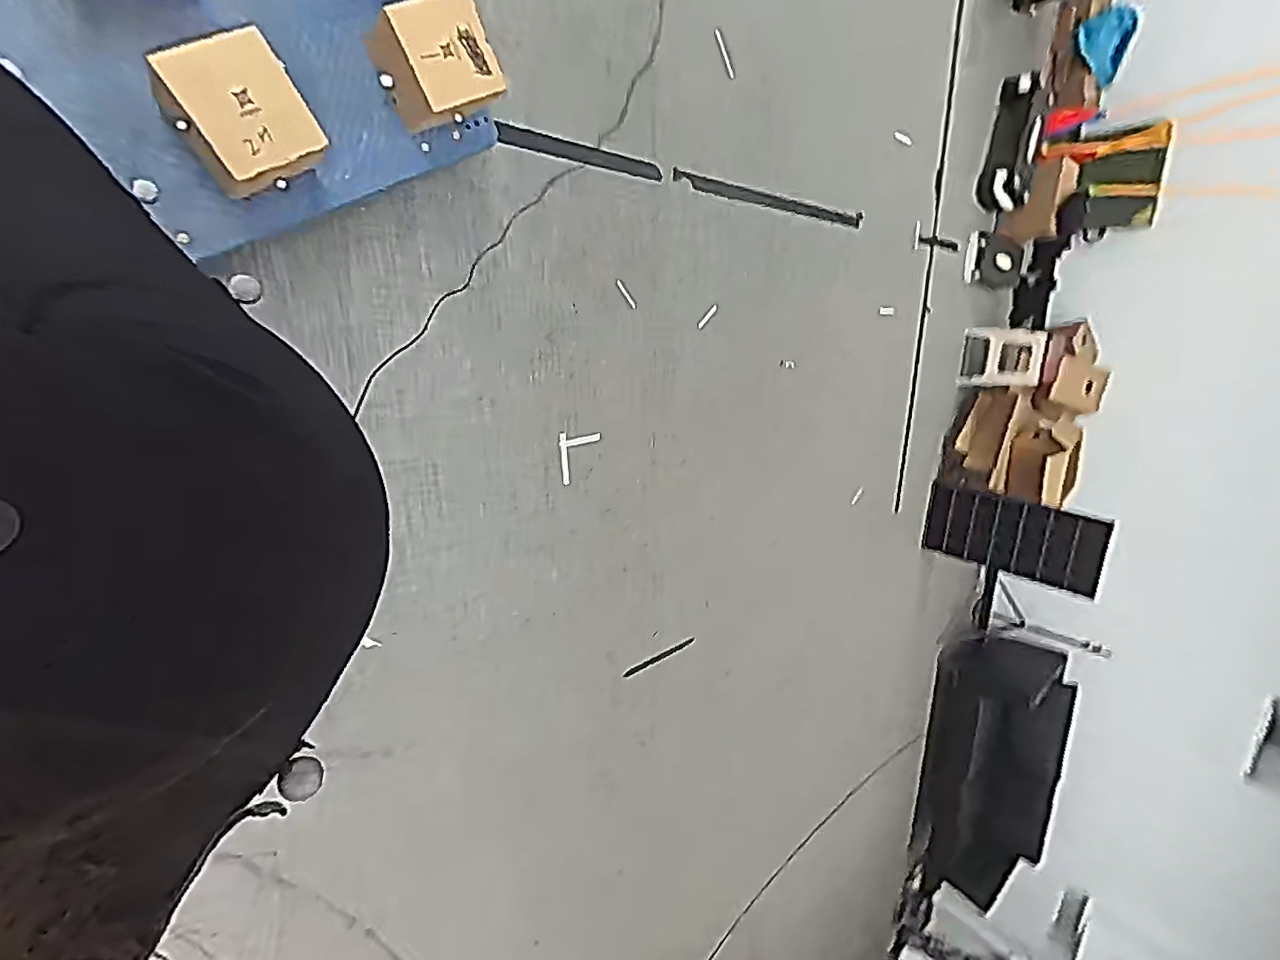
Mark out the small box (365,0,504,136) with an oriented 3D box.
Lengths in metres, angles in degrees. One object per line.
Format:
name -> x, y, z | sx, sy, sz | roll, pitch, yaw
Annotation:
small box -> -0.410, -0.818, 1.075 | 0.179, 0.176, 0.168 | -39, 124, -24

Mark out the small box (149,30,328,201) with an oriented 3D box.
small box -> -0.673, -0.603, 0.912 | 0.168, 0.176, 0.179 | -42, 125, -24
